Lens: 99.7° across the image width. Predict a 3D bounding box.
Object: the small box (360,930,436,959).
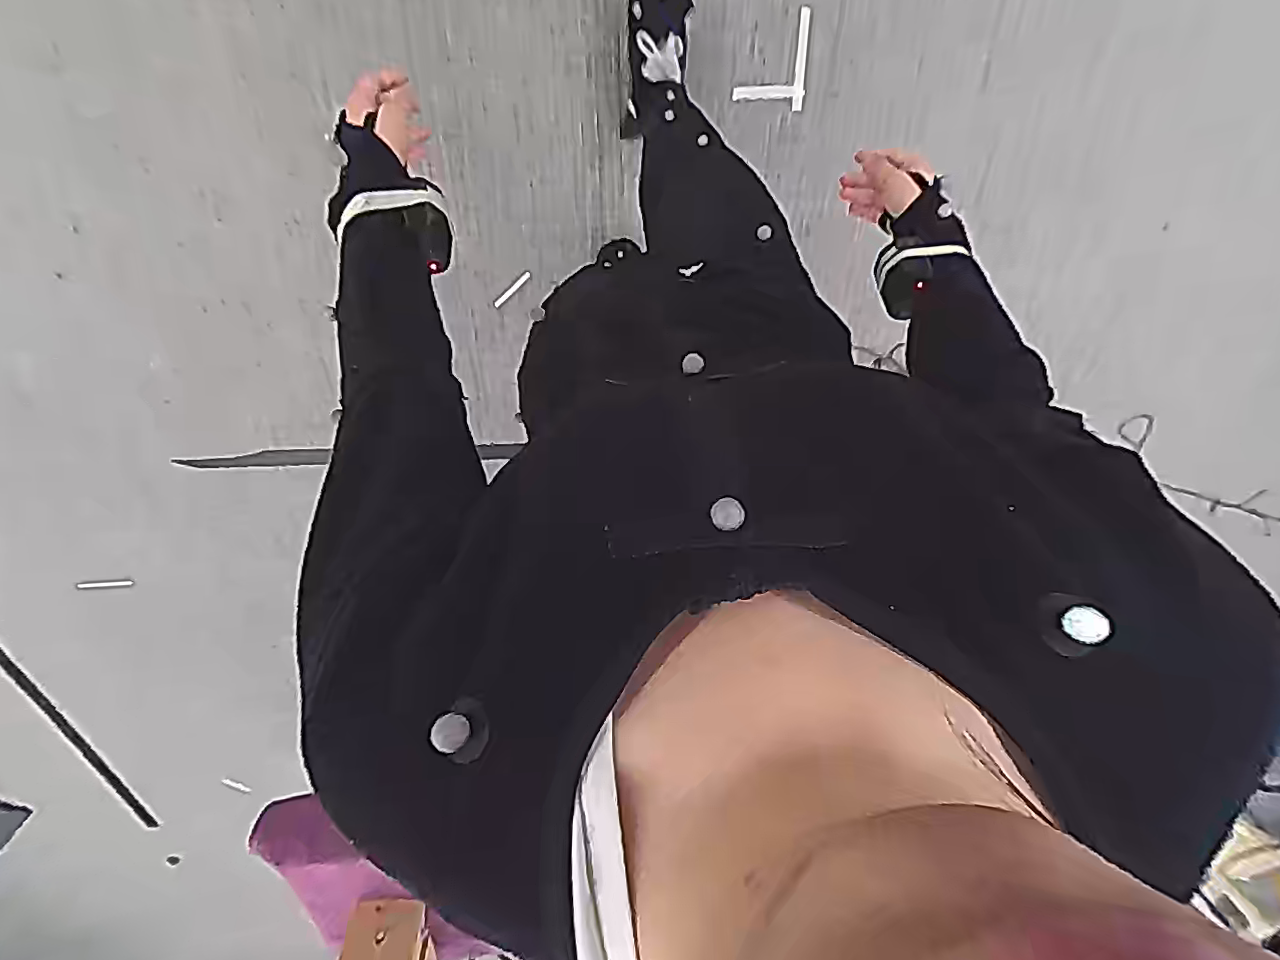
[{"bbox_3d":[-0.639,1.309,1.407,0.168,0.176,0.179,1,122,-7],"label":"small box"}]
